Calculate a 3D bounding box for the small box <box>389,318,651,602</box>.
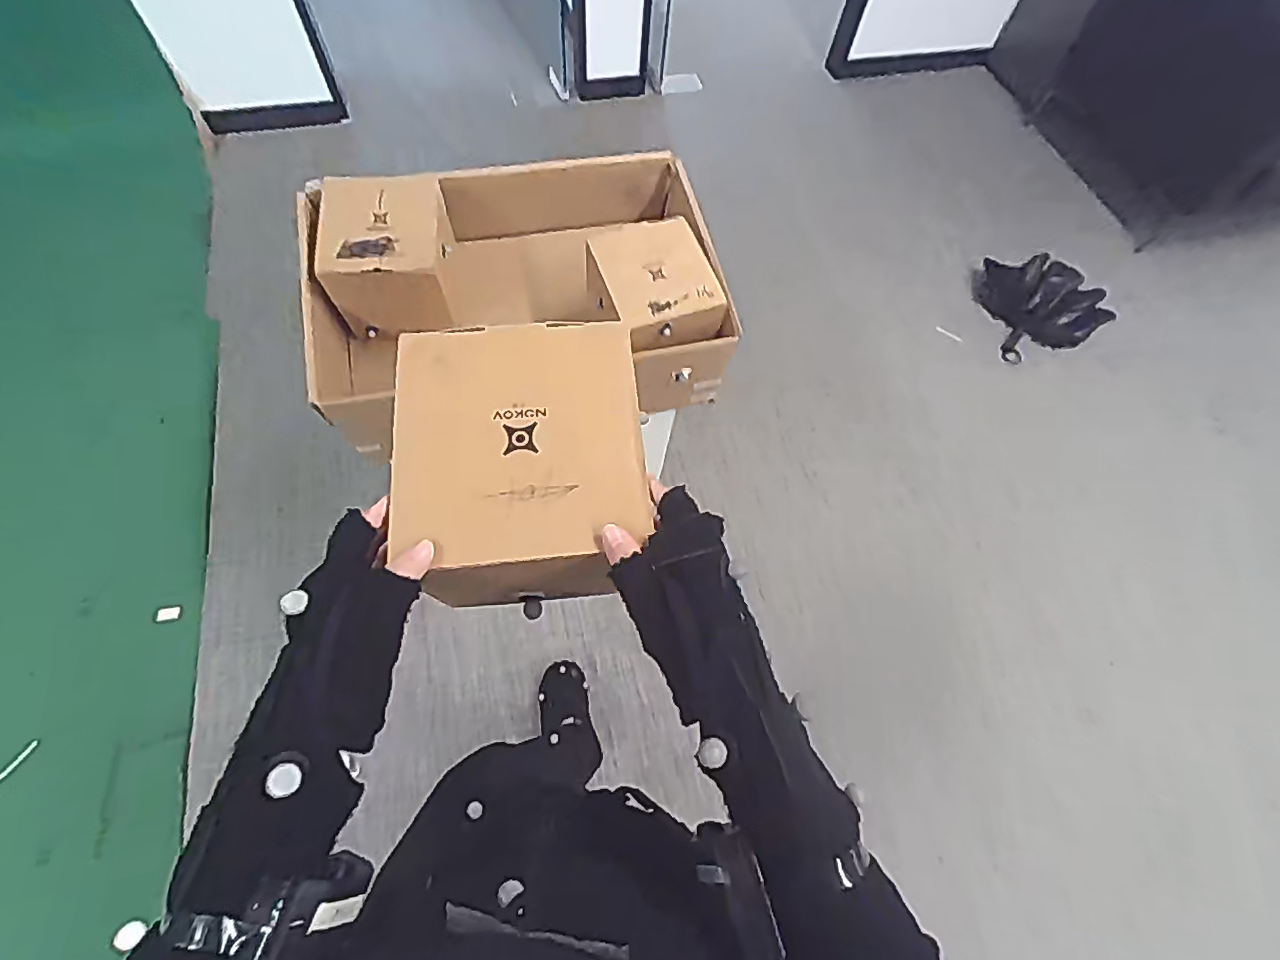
[{"bbox_3d":[-0.087,-0.007,0.443,0.168,0.176,0.179,-5,69,-5],"label":"small box"}]
